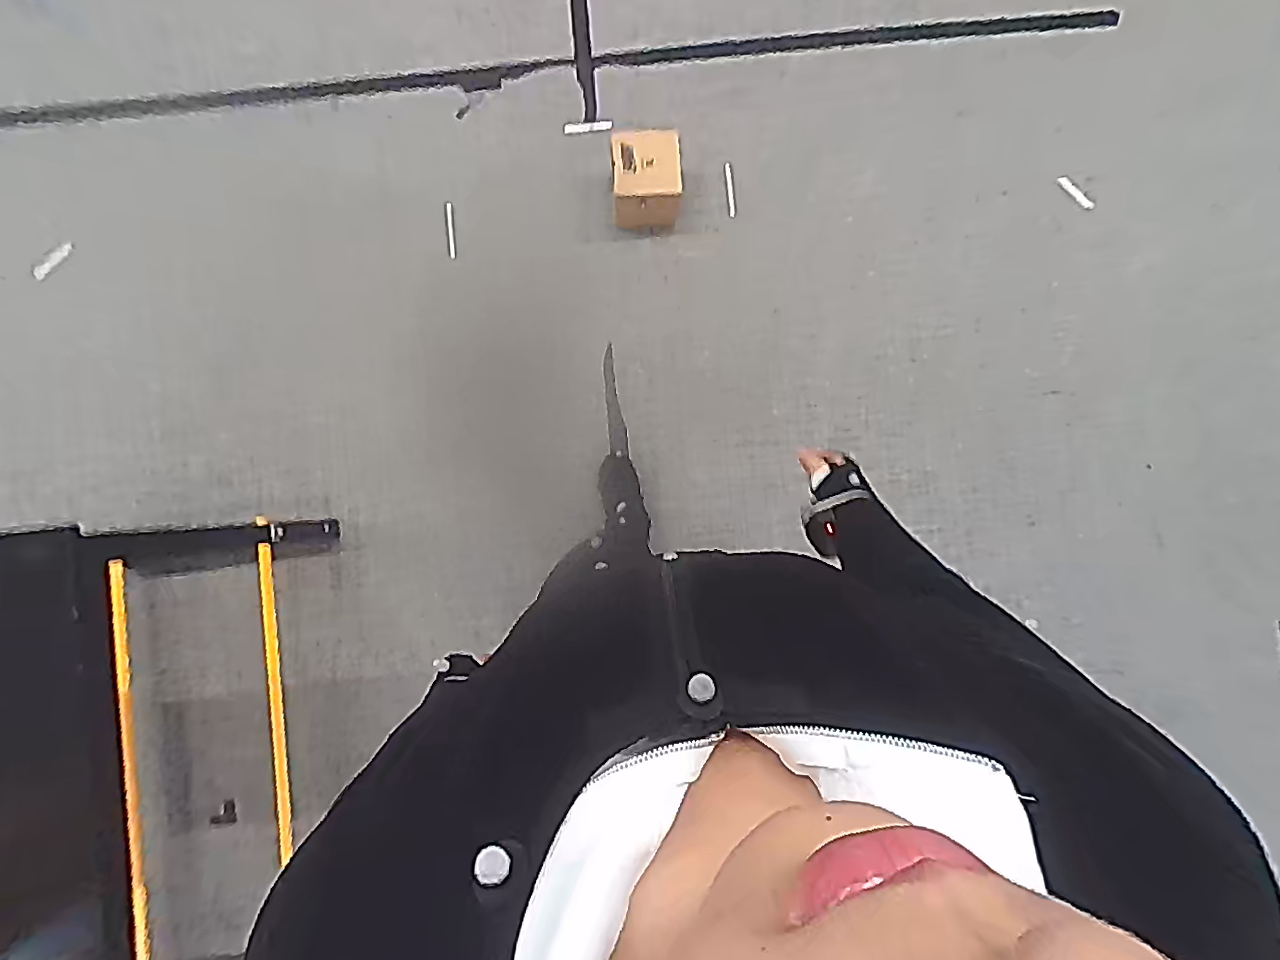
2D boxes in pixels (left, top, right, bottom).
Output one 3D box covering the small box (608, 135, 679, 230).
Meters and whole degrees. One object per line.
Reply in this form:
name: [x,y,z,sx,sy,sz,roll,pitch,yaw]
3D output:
small box: [0.007,-0.798,1.462,0.179,0.176,0.168,-4,88,-3]
